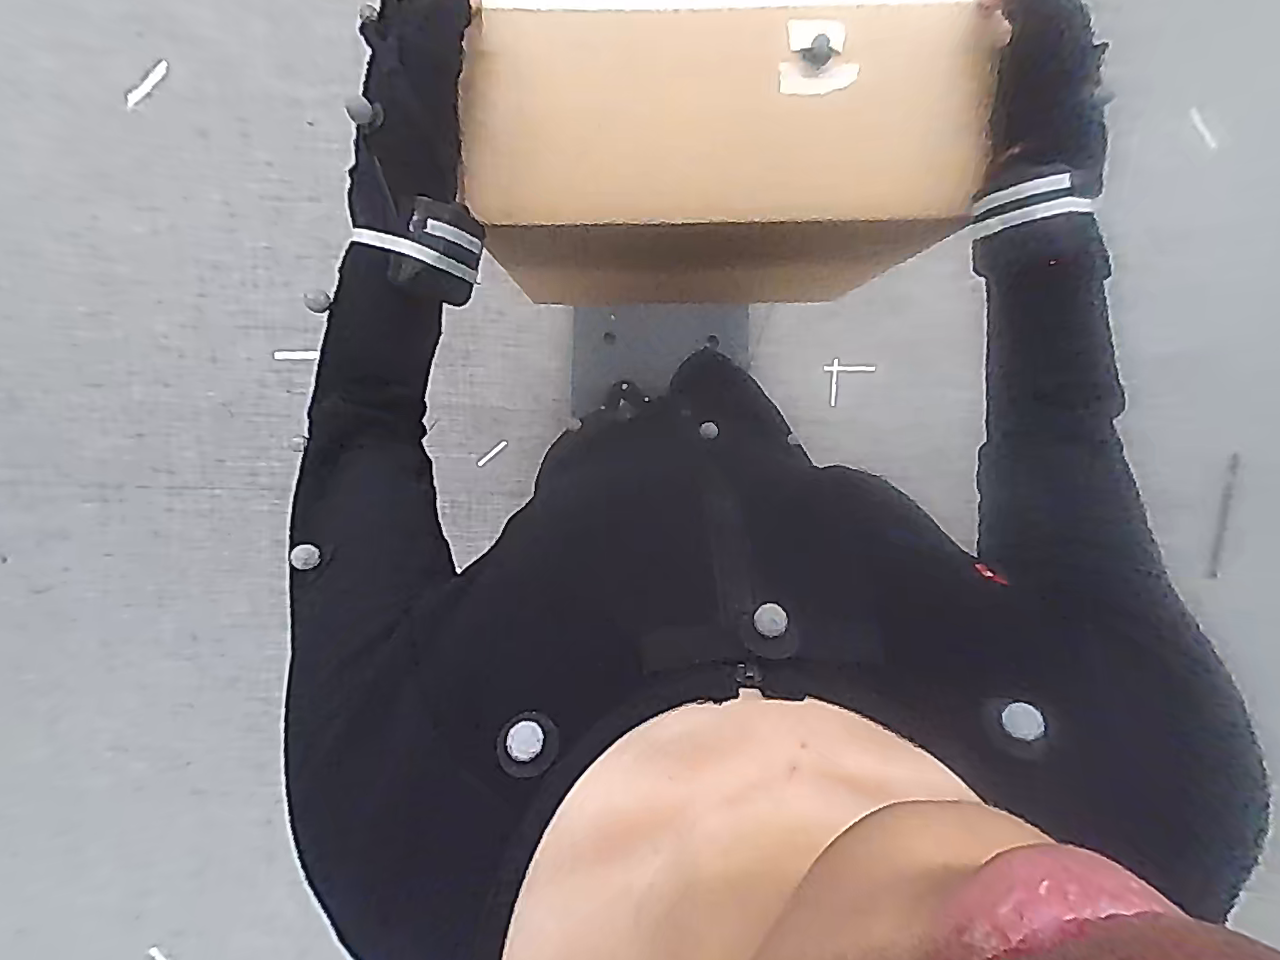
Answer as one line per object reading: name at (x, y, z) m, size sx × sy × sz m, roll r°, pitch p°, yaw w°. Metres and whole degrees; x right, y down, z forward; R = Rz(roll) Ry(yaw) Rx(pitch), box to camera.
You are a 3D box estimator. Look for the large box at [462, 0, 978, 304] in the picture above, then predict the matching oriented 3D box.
large box at (0.057, -0.377, 0.560) m, size 0.408 × 0.320 × 0.320 m, roll -1°, pitch 97°, yaw -1°
